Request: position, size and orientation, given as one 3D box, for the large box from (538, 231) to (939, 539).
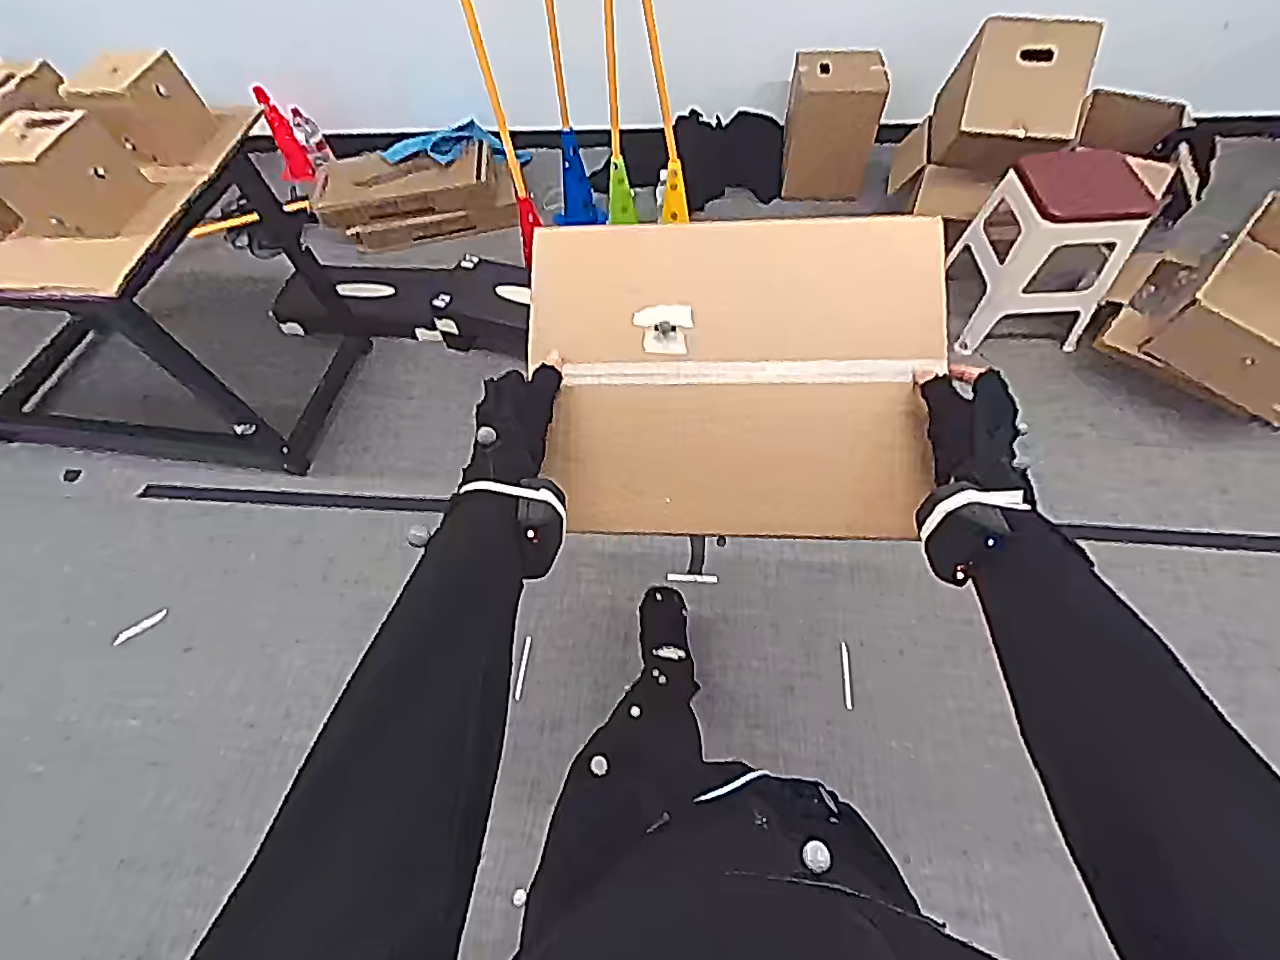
[{"bbox_3d":[0.109,-0.086,0.700,0.408,0.320,0.320,1,84,6],"label":"large box"}]
